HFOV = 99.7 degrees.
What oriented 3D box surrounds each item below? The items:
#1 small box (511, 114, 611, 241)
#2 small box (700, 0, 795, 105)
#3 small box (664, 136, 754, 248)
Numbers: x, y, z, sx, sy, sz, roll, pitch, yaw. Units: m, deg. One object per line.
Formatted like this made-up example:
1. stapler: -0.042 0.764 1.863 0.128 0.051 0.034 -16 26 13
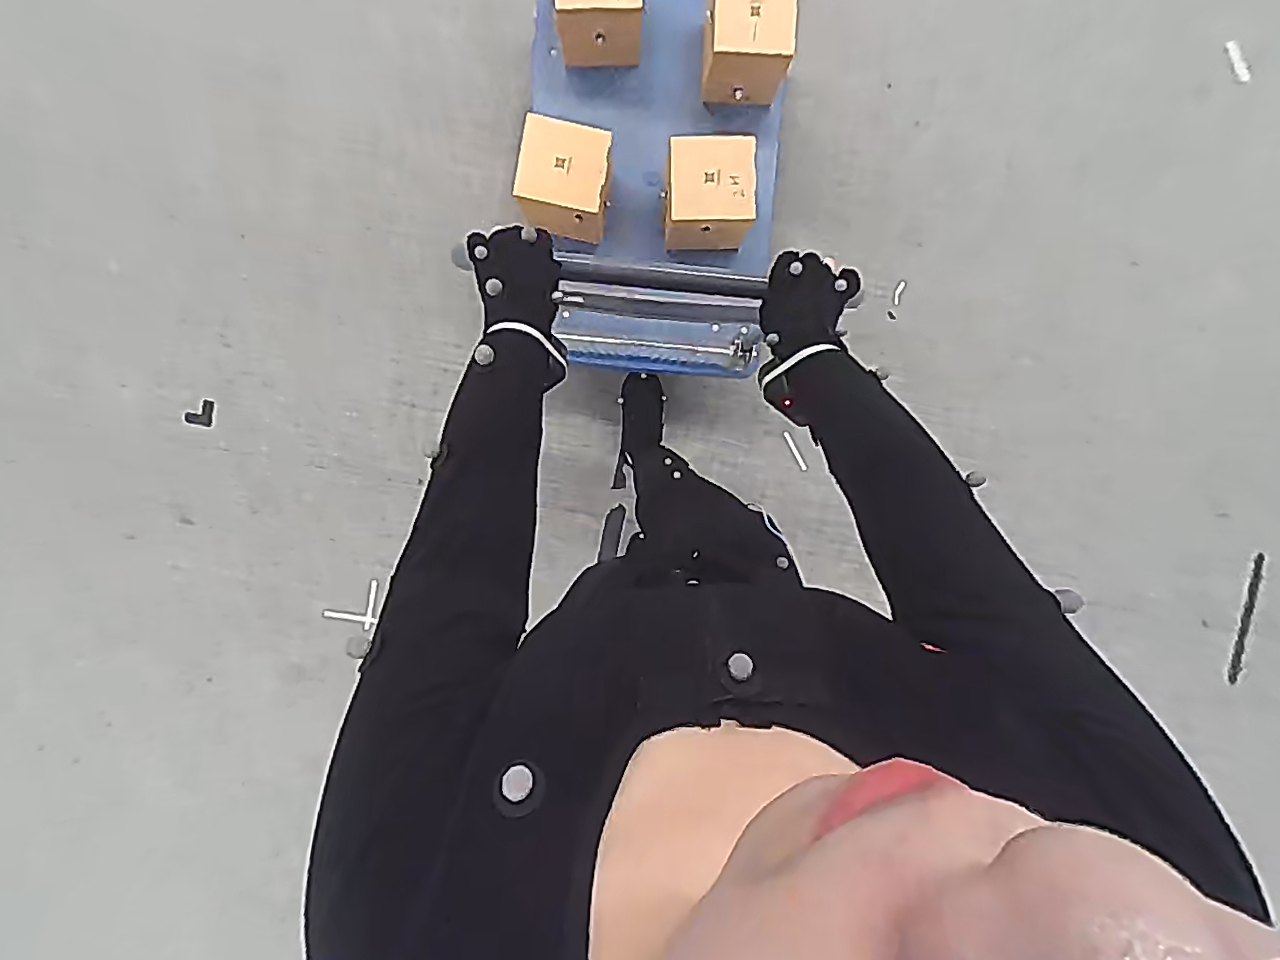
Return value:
1. small box: -0.161 -0.635 1.157 0.179 0.176 0.168 10 93 -4
2. small box: 0.222 -0.941 1.147 0.168 0.176 0.179 2 95 -2
3. small box: 0.141 -0.612 1.167 0.179 0.176 0.168 -1 94 -2
